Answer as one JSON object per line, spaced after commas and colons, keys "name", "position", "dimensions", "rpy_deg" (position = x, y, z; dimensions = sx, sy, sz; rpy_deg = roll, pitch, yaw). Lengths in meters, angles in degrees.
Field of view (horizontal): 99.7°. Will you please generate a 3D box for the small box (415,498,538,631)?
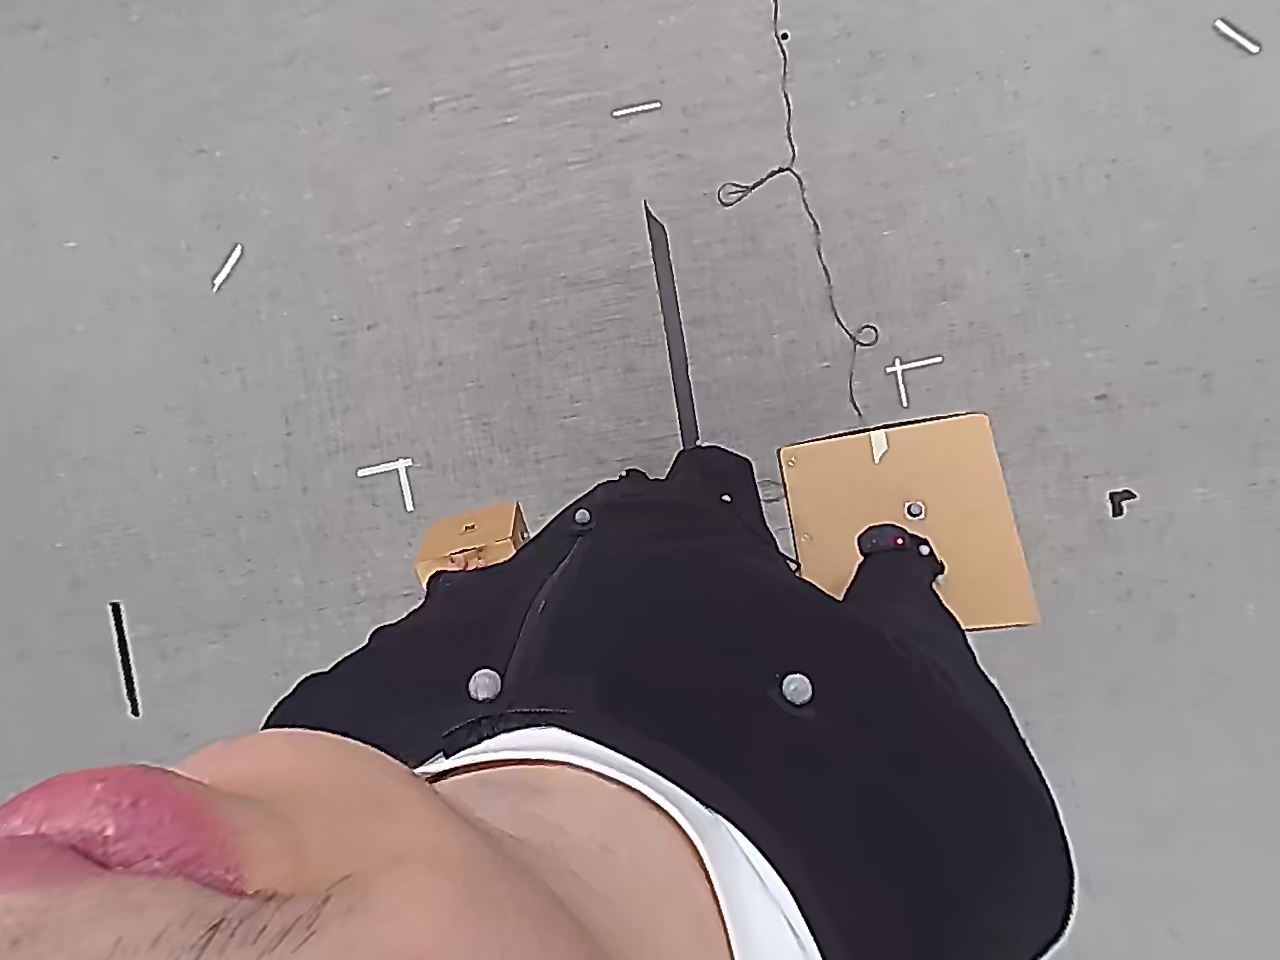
{"name": "small box", "position": [-0.290, 0.159, 1.001], "dimensions": [0.168, 0.179, 0.176], "rpy_deg": [-14, 113, -4]}
